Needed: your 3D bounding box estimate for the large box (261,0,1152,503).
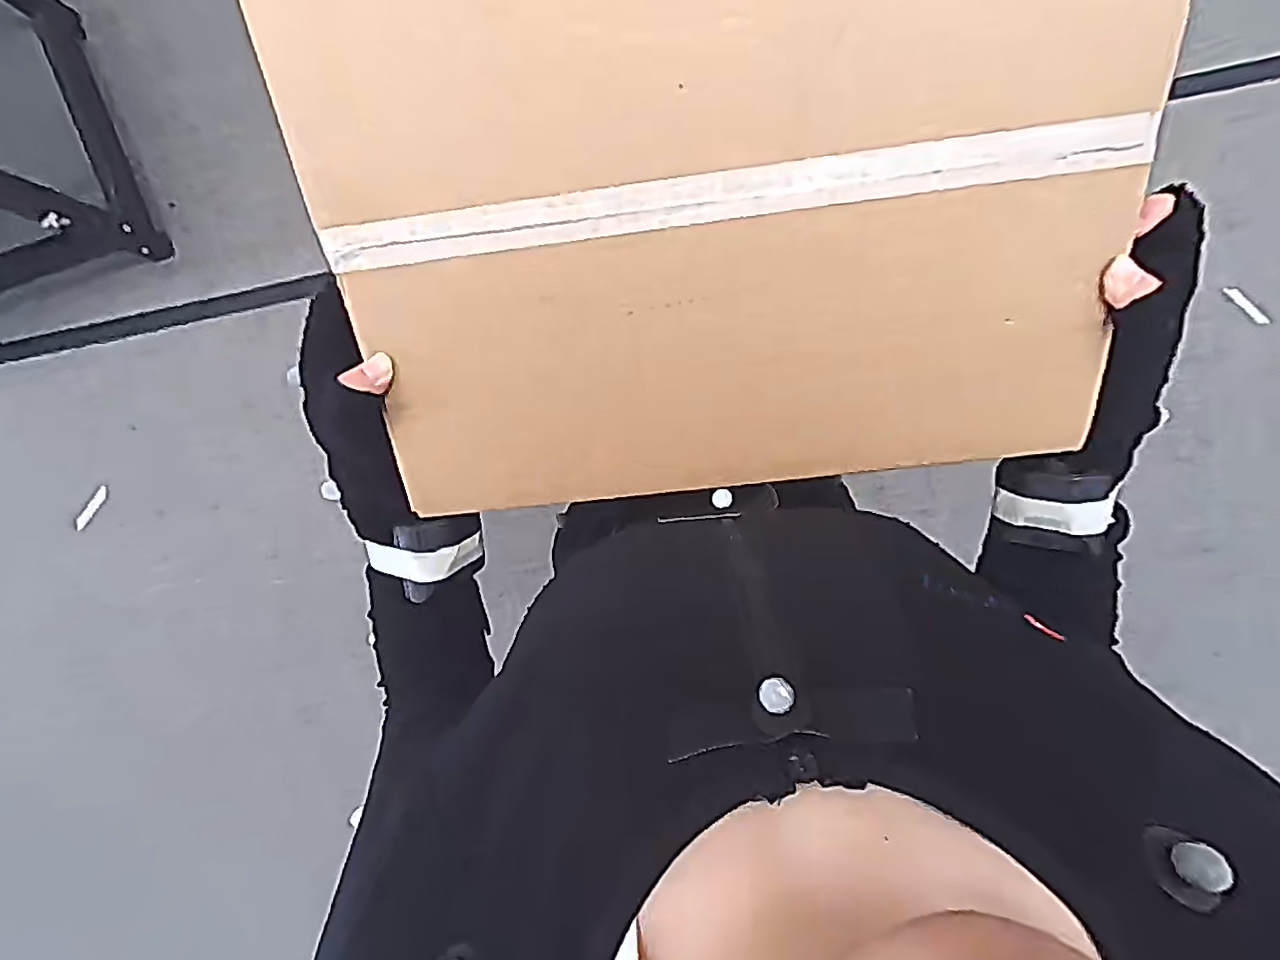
[{"bbox_3d":[0.036,-0.205,0.412,0.408,0.320,0.320,-6,115,3],"label":"large box"}]
